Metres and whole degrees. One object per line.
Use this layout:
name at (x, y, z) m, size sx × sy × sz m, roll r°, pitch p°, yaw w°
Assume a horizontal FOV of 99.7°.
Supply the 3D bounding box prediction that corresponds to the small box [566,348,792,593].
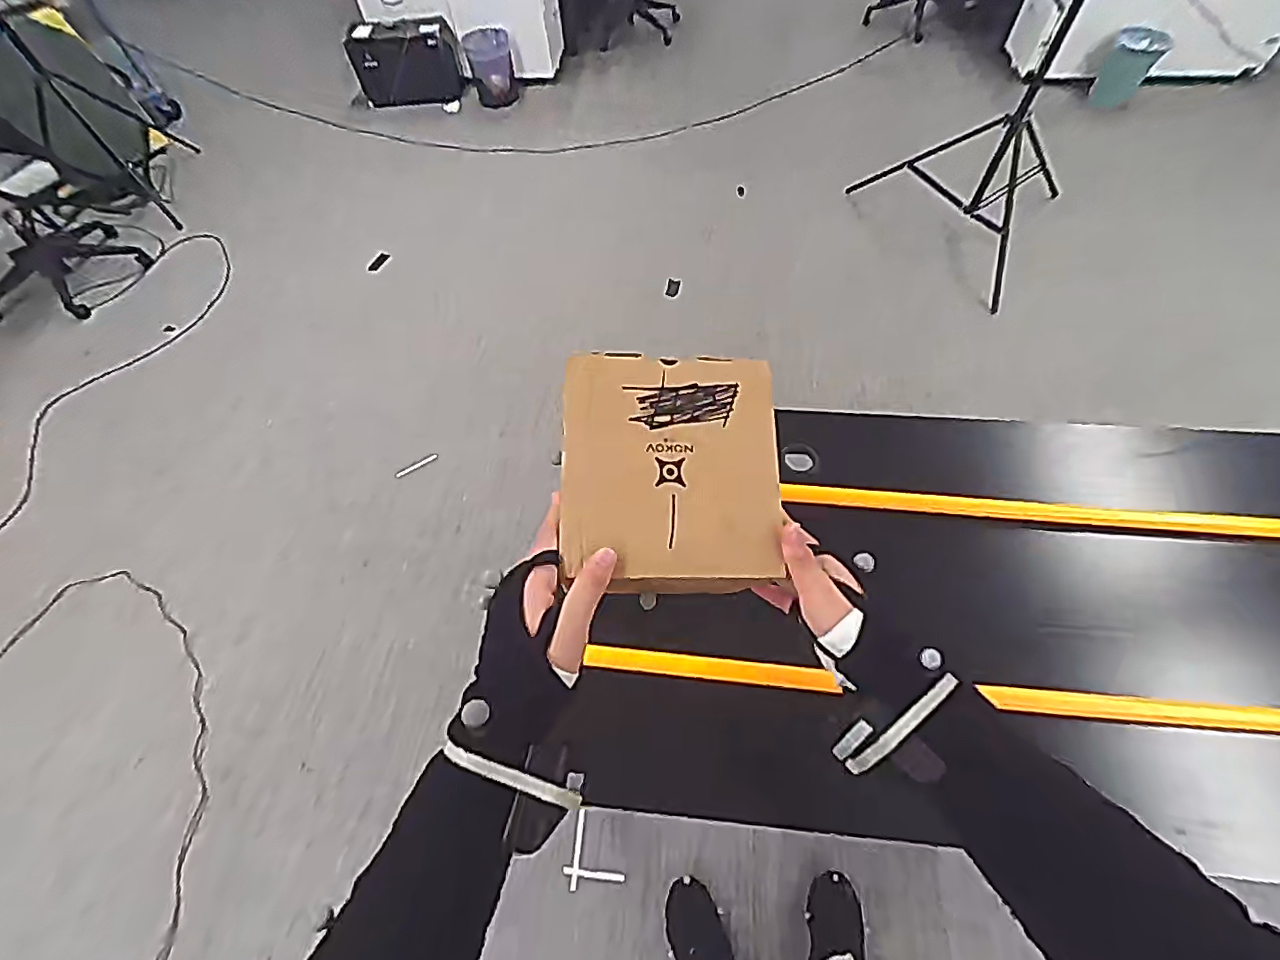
small box at (0.022, 0.005, 0.480) m, size 0.168 × 0.176 × 0.179 m, roll 2°, pitch 75°, yaw -5°
